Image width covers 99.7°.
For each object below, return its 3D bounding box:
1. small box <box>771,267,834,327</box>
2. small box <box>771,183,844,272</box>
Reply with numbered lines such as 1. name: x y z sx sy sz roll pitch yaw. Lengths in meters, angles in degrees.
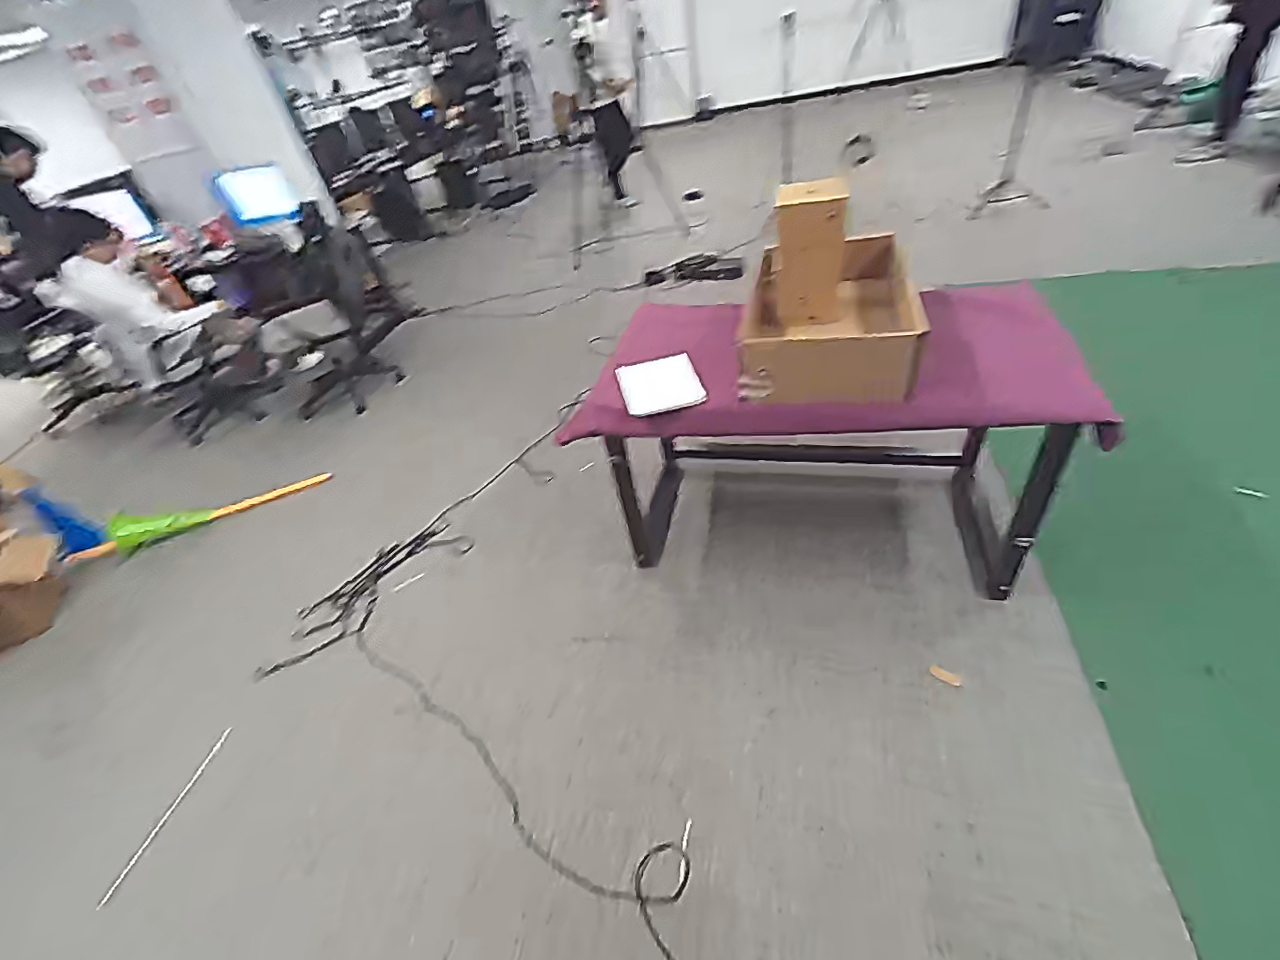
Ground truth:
1. small box: 0.470 -0.552 1.554 0.168 0.176 0.179 2 44 17
2. small box: 0.445 -0.669 1.445 0.179 0.176 0.168 0 43 15
